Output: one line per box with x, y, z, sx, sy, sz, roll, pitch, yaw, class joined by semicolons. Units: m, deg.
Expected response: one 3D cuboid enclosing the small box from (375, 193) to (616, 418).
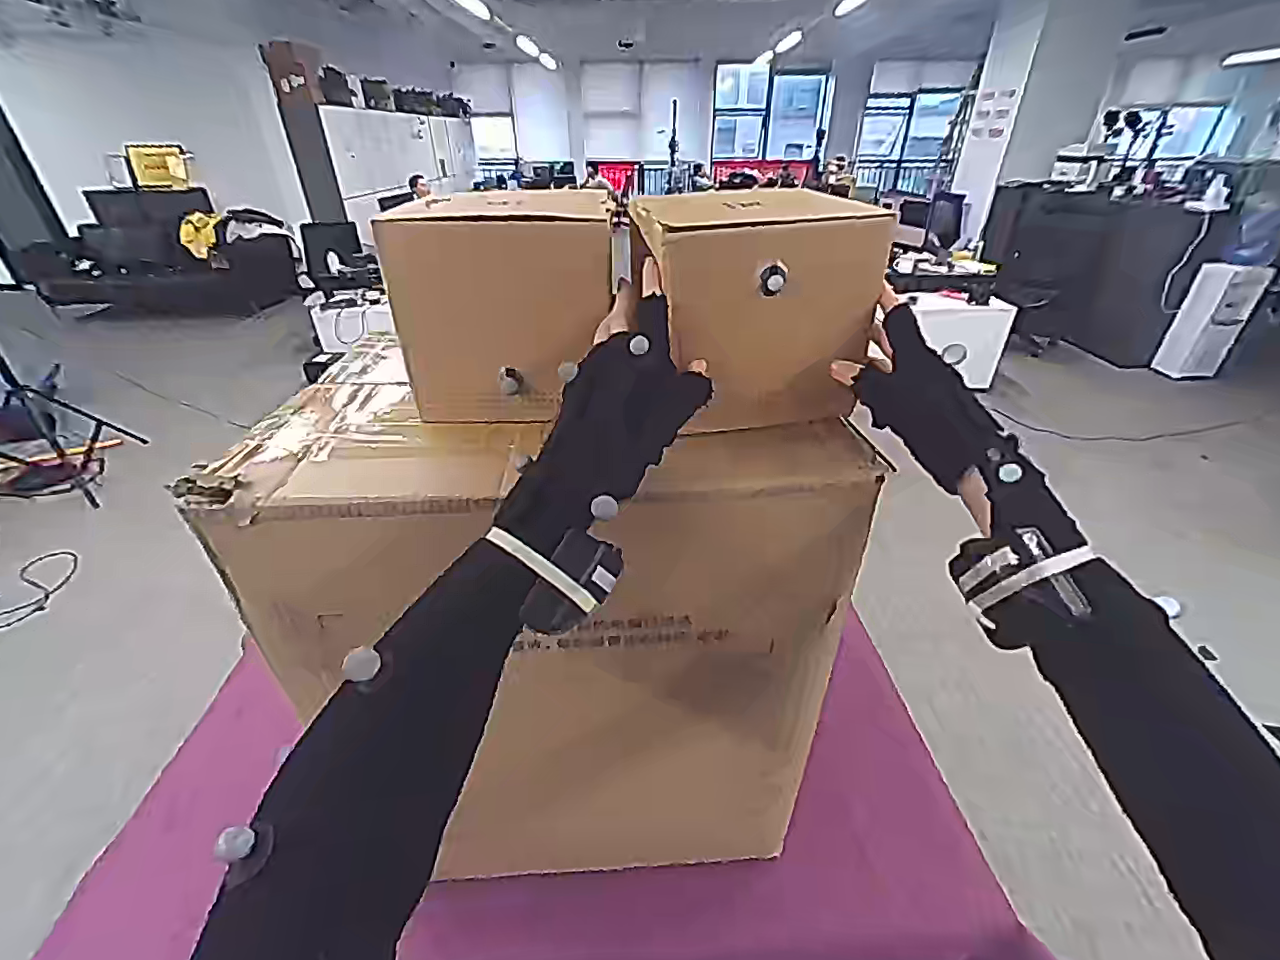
-0.113;-0.166;0.510;0.179;0.176;0.168;0;32;-1;small box
